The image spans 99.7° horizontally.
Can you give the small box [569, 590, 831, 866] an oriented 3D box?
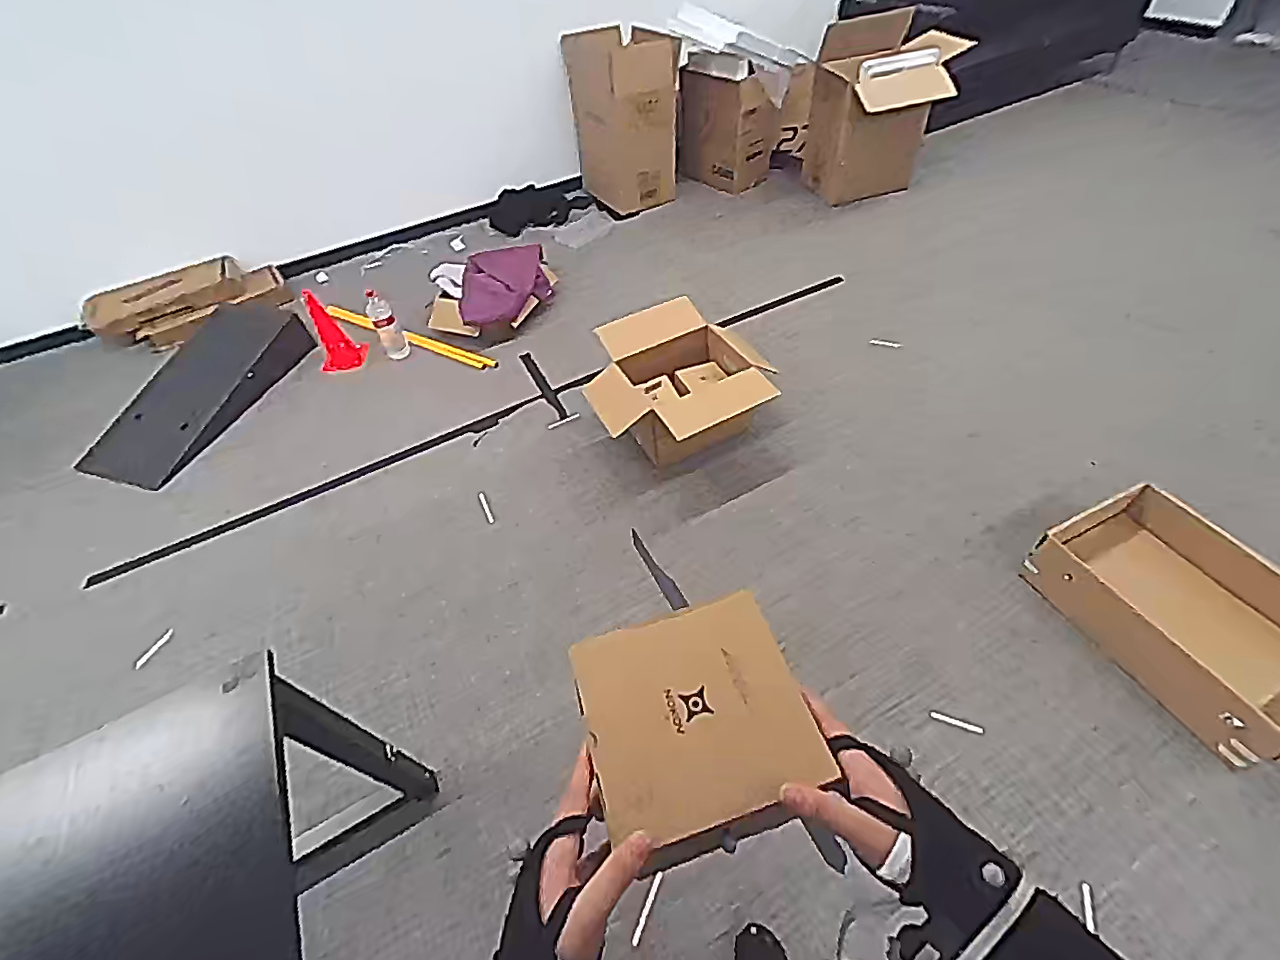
[{"bbox_3d":[0.049,0.235,0.506,0.179,0.176,0.168,-17,52,-7],"label":"small box"}]
